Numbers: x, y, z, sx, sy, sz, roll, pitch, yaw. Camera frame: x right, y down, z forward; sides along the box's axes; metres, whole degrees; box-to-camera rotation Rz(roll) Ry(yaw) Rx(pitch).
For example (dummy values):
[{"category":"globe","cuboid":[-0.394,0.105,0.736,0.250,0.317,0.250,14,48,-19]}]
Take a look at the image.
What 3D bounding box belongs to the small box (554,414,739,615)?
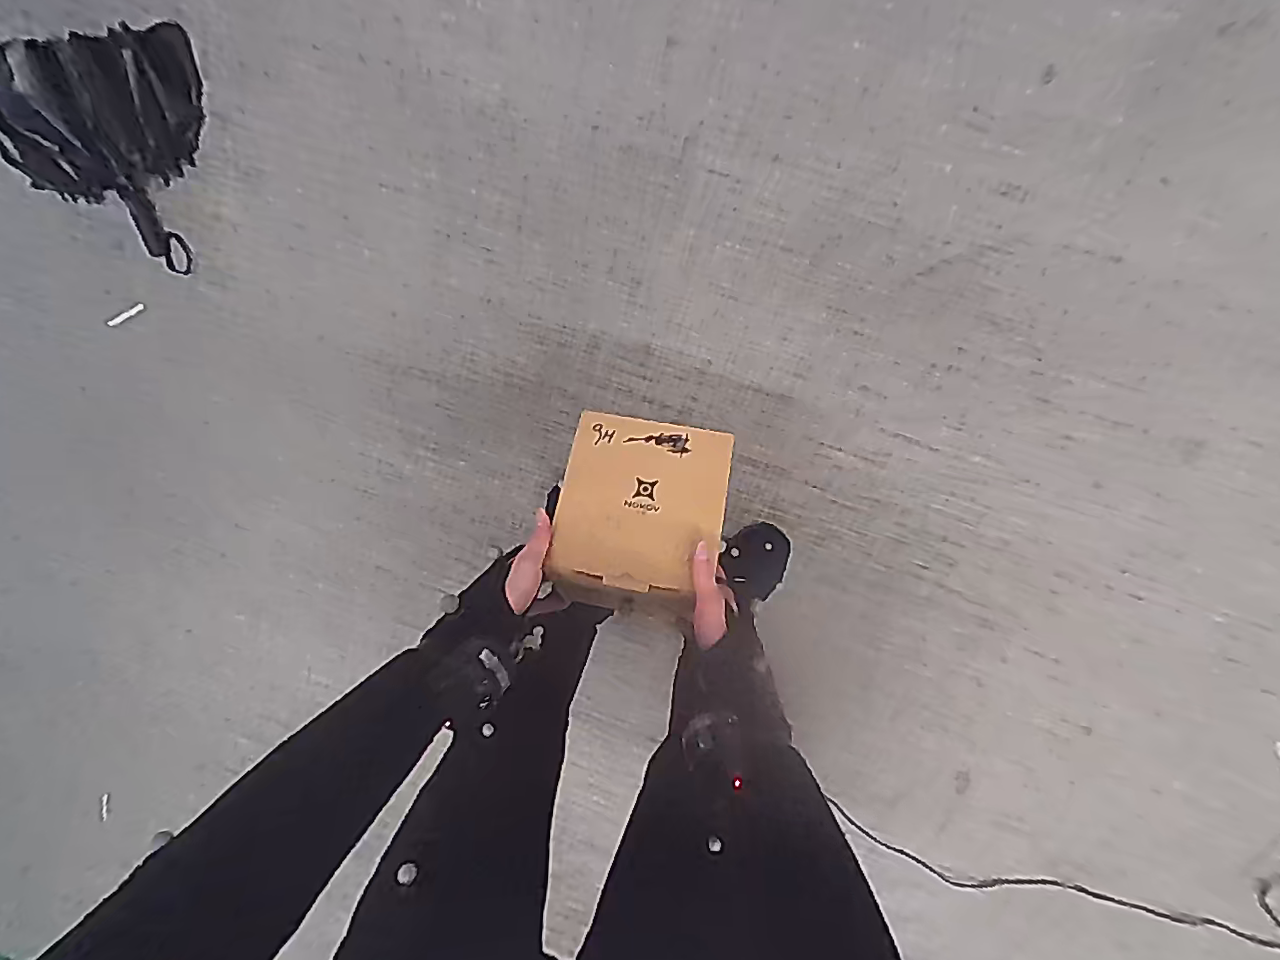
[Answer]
[{"category":"small box","cuboid":[0.011,0.050,0.624,0.168,0.176,0.179,10,68,4]}]
